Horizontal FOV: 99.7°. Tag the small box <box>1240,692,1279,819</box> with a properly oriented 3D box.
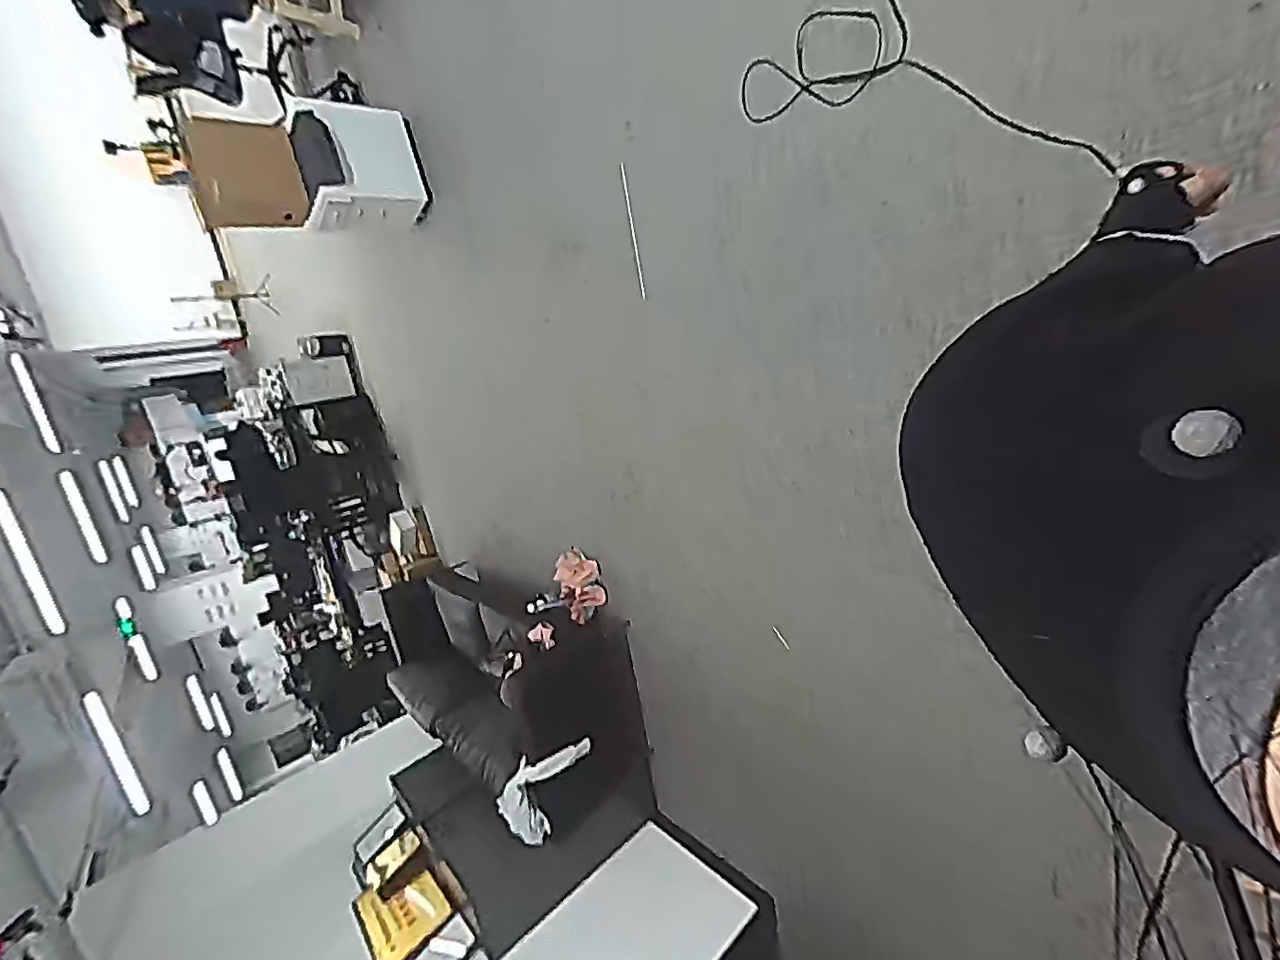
[{"bbox_3d":[1.244,0.522,0.994,0.179,0.176,0.168,5,108,47],"label":"small box"}]
